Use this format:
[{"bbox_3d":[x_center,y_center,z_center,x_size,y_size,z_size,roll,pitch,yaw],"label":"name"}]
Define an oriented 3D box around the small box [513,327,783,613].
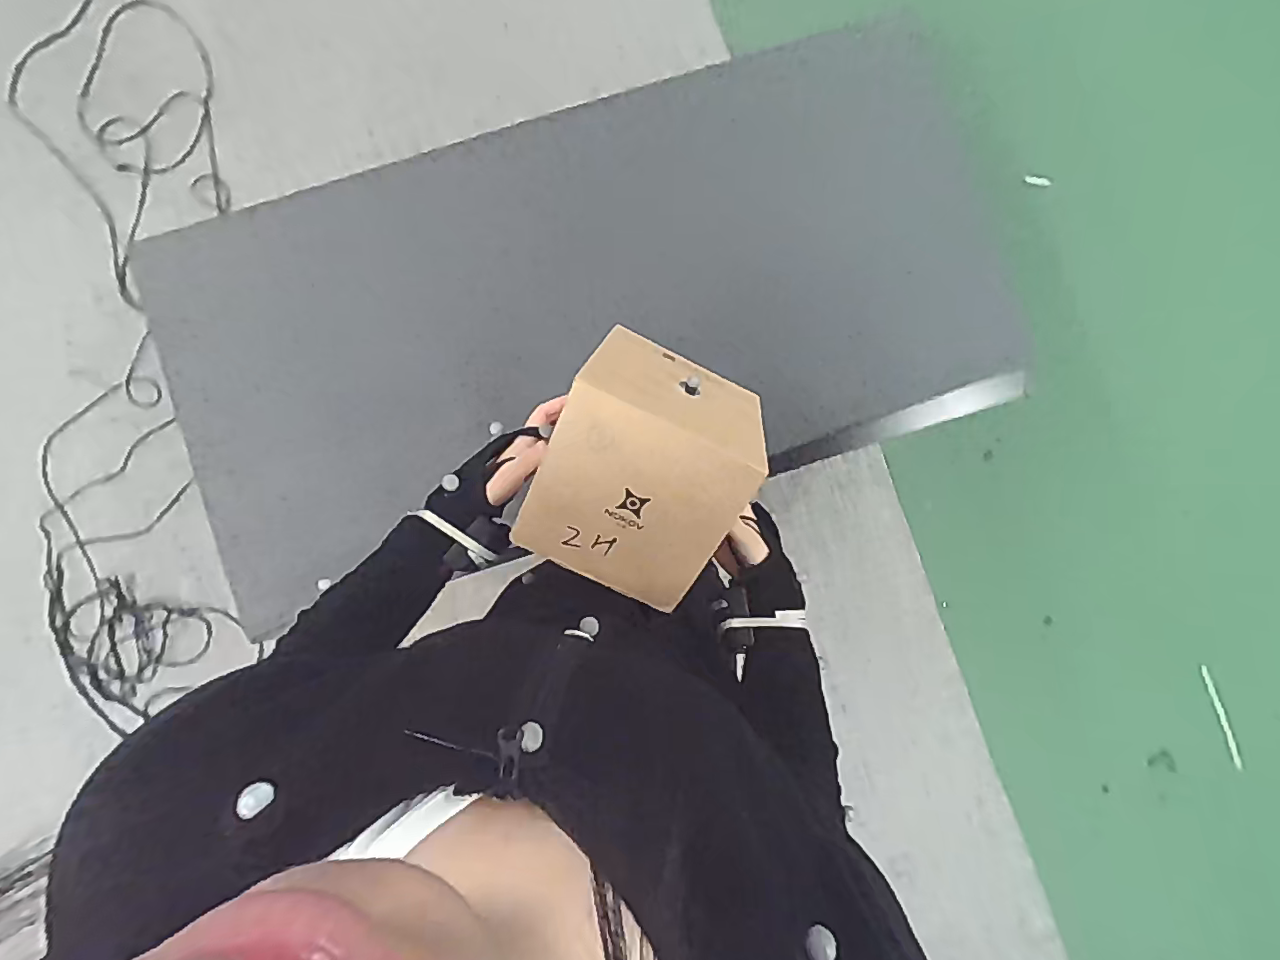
[{"bbox_3d":[0.009,-0.019,0.504,0.168,0.176,0.179,27,119,-5],"label":"small box"}]
